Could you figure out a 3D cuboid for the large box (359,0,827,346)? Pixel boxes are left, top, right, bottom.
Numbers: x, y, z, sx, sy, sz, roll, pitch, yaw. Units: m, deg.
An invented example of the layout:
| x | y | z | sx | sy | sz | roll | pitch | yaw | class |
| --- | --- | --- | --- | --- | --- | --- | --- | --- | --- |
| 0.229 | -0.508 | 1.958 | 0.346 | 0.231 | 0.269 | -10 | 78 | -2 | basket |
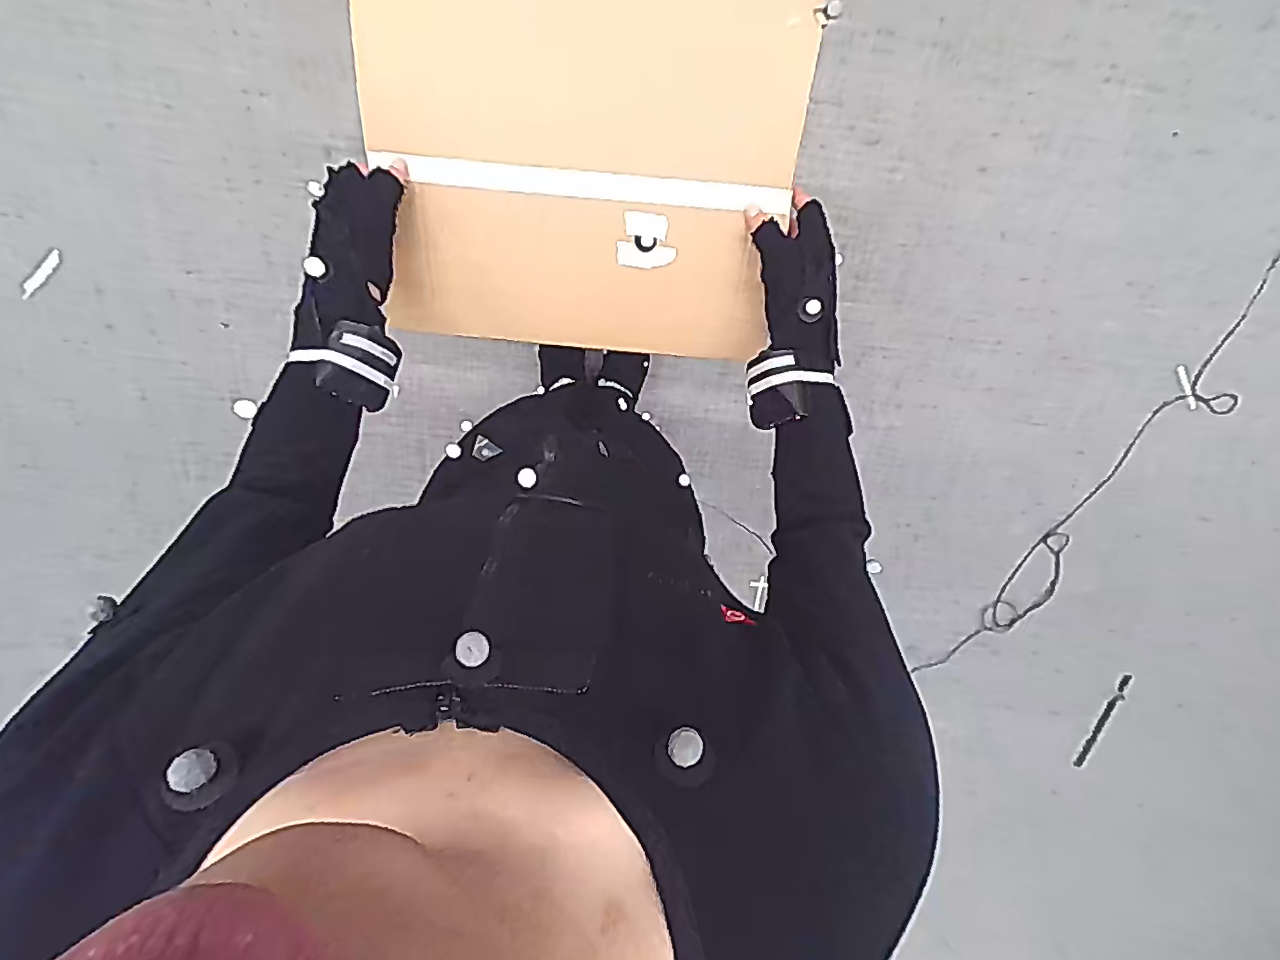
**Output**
| x | y | z | sx | sy | sz | roll | pitch | yaw | class |
| --- | --- | --- | --- | --- | --- | --- | --- | --- | --- |
| -0.049 | -0.357 | 0.647 | 0.408 | 0.320 | 0.320 | 4 | 117 | -1 | large box |
